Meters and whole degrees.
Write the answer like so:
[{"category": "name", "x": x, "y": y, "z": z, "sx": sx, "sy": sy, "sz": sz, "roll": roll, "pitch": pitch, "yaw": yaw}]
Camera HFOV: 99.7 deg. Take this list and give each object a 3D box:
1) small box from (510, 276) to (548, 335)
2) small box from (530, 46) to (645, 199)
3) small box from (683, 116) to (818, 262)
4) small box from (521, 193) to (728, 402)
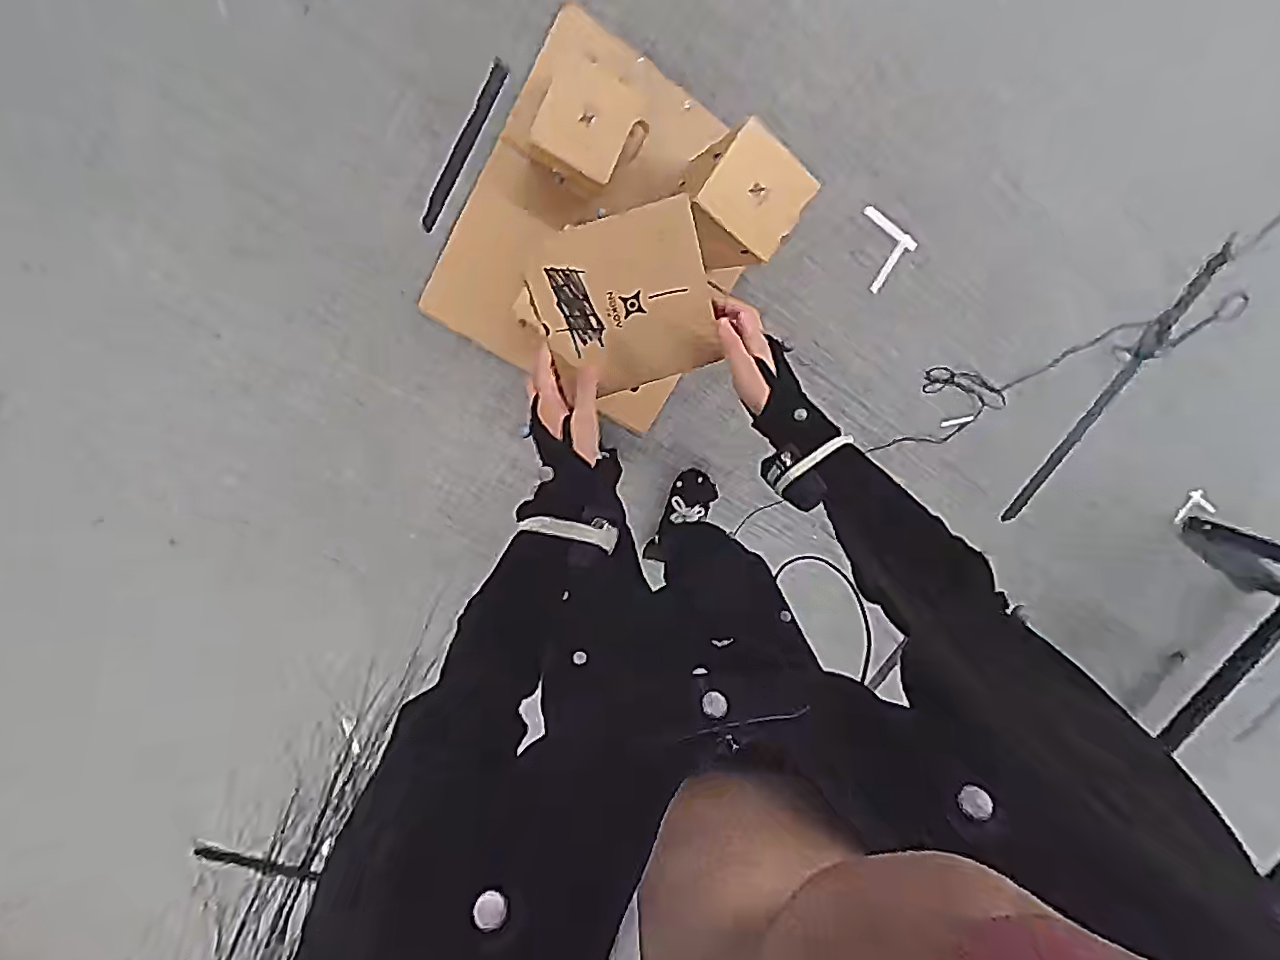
[{"category": "small box", "x": -0.159, "y": -0.400, "z": 1.173, "sx": 0.168, "sy": 0.176, "sz": 0.179, "roll": 37, "pitch": 99, "yaw": -20}, {"category": "small box", "x": -0.113, "y": -0.700, "z": 1.084, "sx": 0.168, "sy": 0.176, "sz": 0.179, "roll": 23, "pitch": 102, "yaw": -17}, {"category": "small box", "x": 0.190, "y": -0.533, "z": 1.026, "sx": 0.179, "sy": 0.176, "sz": 0.168, "roll": 31, "pitch": 100, "yaw": -21}, {"category": "small box", "x": -0.018, "y": -0.202, "z": 0.606, "sx": 0.179, "sy": 0.176, "sz": 0.168, "roll": -16, "pitch": 113, "yaw": -1}]
